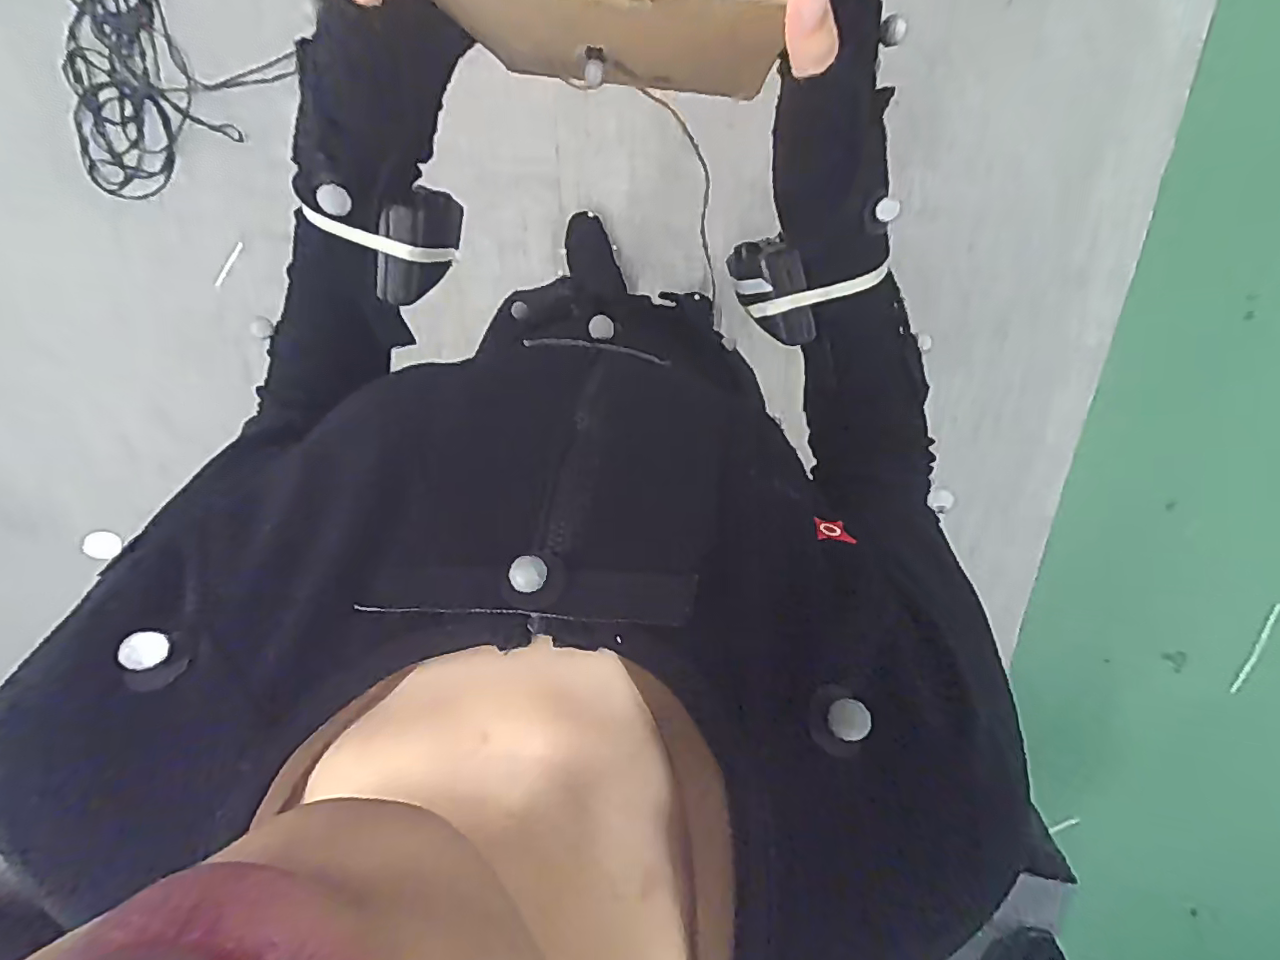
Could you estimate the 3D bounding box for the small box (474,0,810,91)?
[{"bbox_3d":[0.000,-0.302,0.237,0.168,0.176,0.179,7,116,1],"label":"small box"}]
